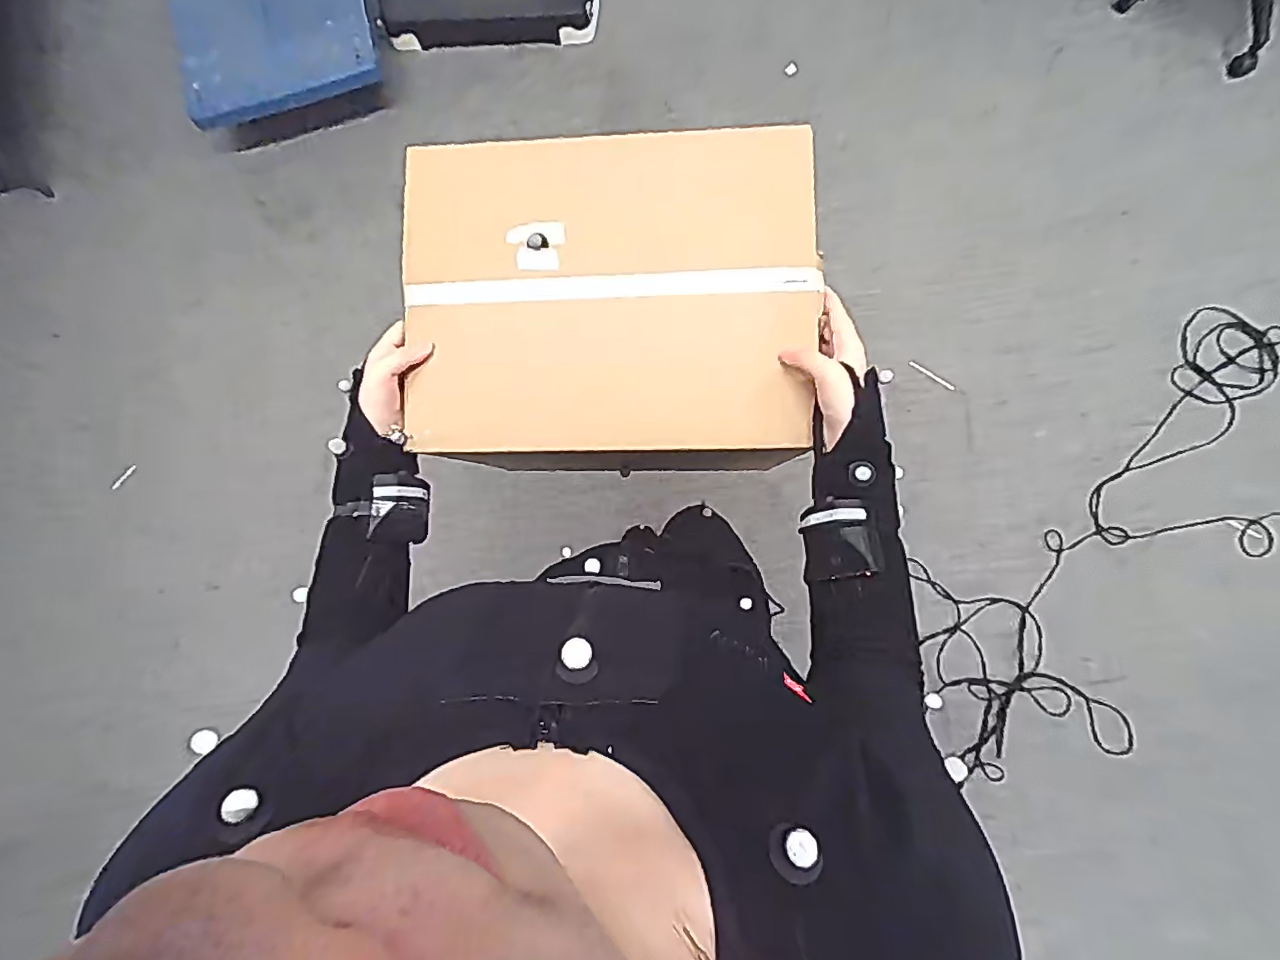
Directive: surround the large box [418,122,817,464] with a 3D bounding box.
[{"bbox_3d":[-0.015,-0.186,0.688,0.408,0.320,0.320,-1,87,6],"label":"large box"}]
